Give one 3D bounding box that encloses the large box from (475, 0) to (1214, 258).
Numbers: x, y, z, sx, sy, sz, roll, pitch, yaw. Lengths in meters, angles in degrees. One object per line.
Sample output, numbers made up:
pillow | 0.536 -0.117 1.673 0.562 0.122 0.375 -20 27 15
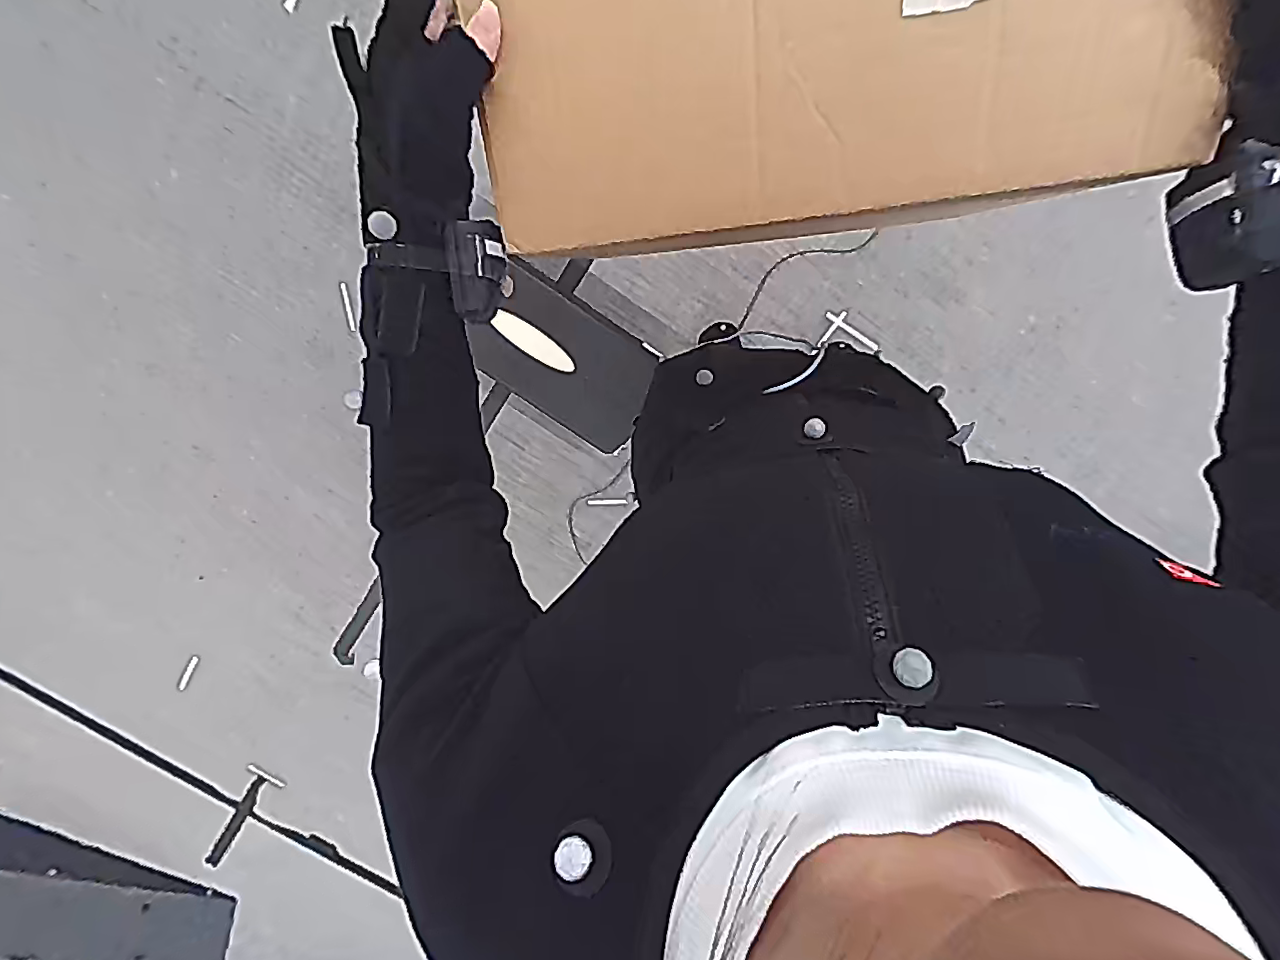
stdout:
large box | 0.111 -0.369 0.422 0.408 0.320 0.320 -4 111 9
